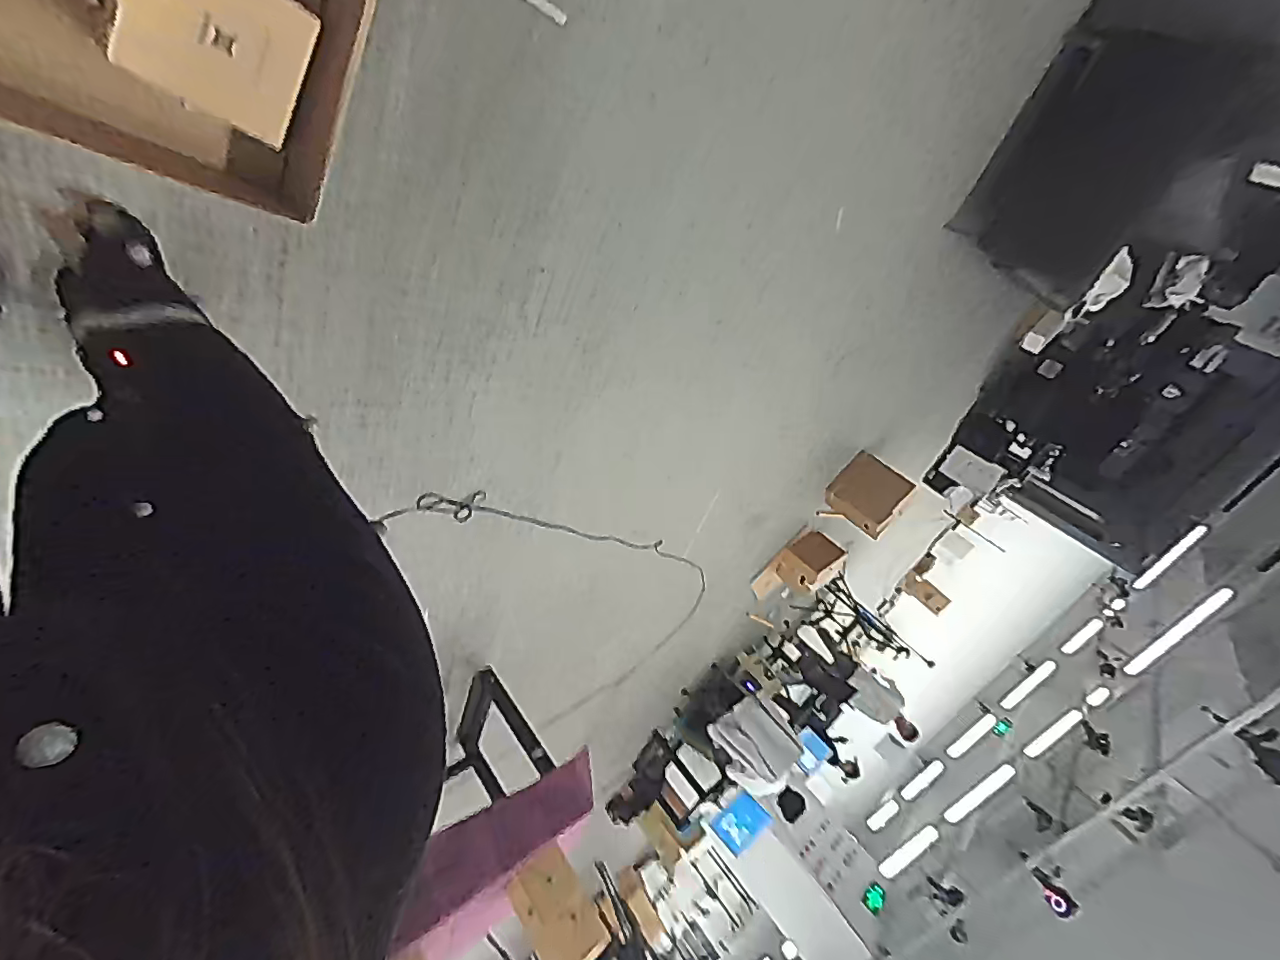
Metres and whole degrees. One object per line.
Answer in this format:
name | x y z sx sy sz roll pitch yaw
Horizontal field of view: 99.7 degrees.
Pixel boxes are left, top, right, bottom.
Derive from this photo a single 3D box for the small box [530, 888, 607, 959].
small box | -0.244 1.504 1.787 0.168 0.176 0.179 -12 134 -45
